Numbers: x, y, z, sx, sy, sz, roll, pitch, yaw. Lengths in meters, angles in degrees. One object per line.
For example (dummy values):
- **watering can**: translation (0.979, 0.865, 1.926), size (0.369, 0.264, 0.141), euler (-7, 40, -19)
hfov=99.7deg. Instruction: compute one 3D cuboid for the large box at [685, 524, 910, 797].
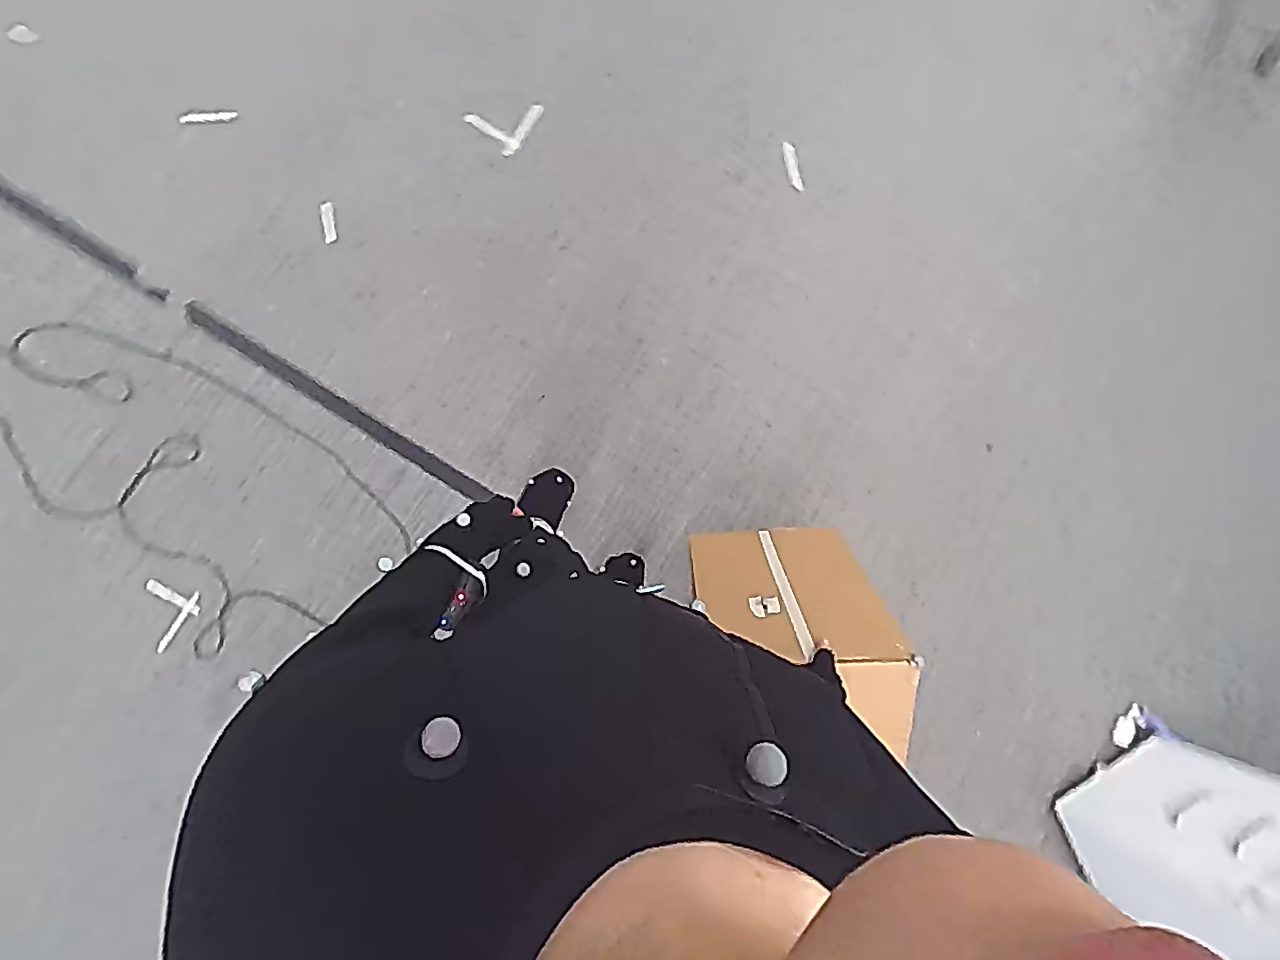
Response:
- **large box**: translation (0.260, 0.319, 1.038), size (0.320, 0.408, 0.320), euler (-5, 114, 4)
